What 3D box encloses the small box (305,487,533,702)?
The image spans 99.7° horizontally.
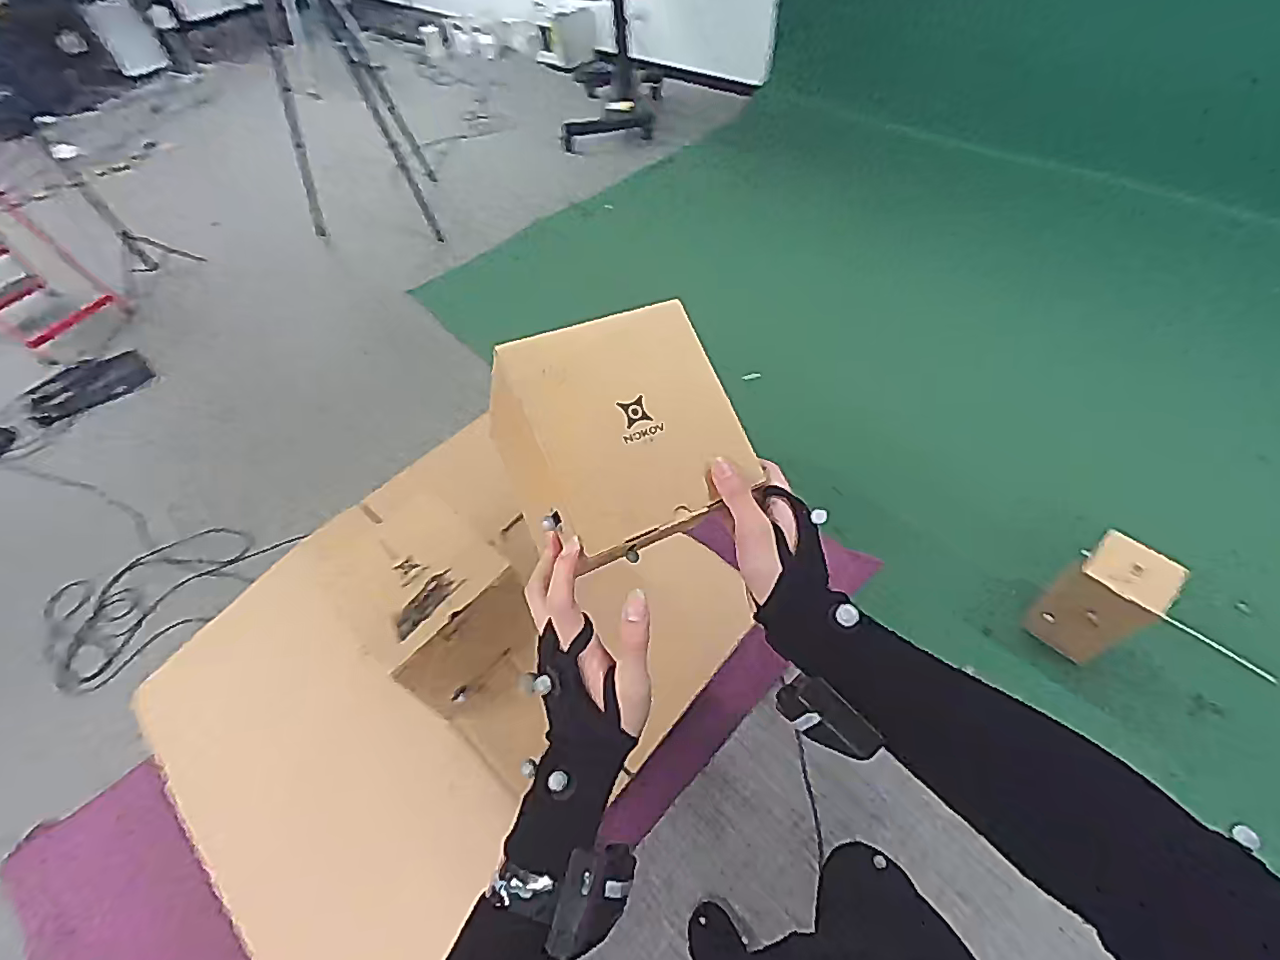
[{"bbox_3d":[-0.257,0.148,0.670,0.179,0.176,0.168,34,61,26],"label":"small box"}]

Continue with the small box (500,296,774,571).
[{"bbox_3d":[-0.018,-0.032,0.488,0.168,0.176,0.179,-21,83,-21],"label":"small box"}]

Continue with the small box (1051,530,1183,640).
[{"bbox_3d":[1.192,0.268,1.365,0.179,0.176,0.168,-37,58,-21],"label":"small box"}]
